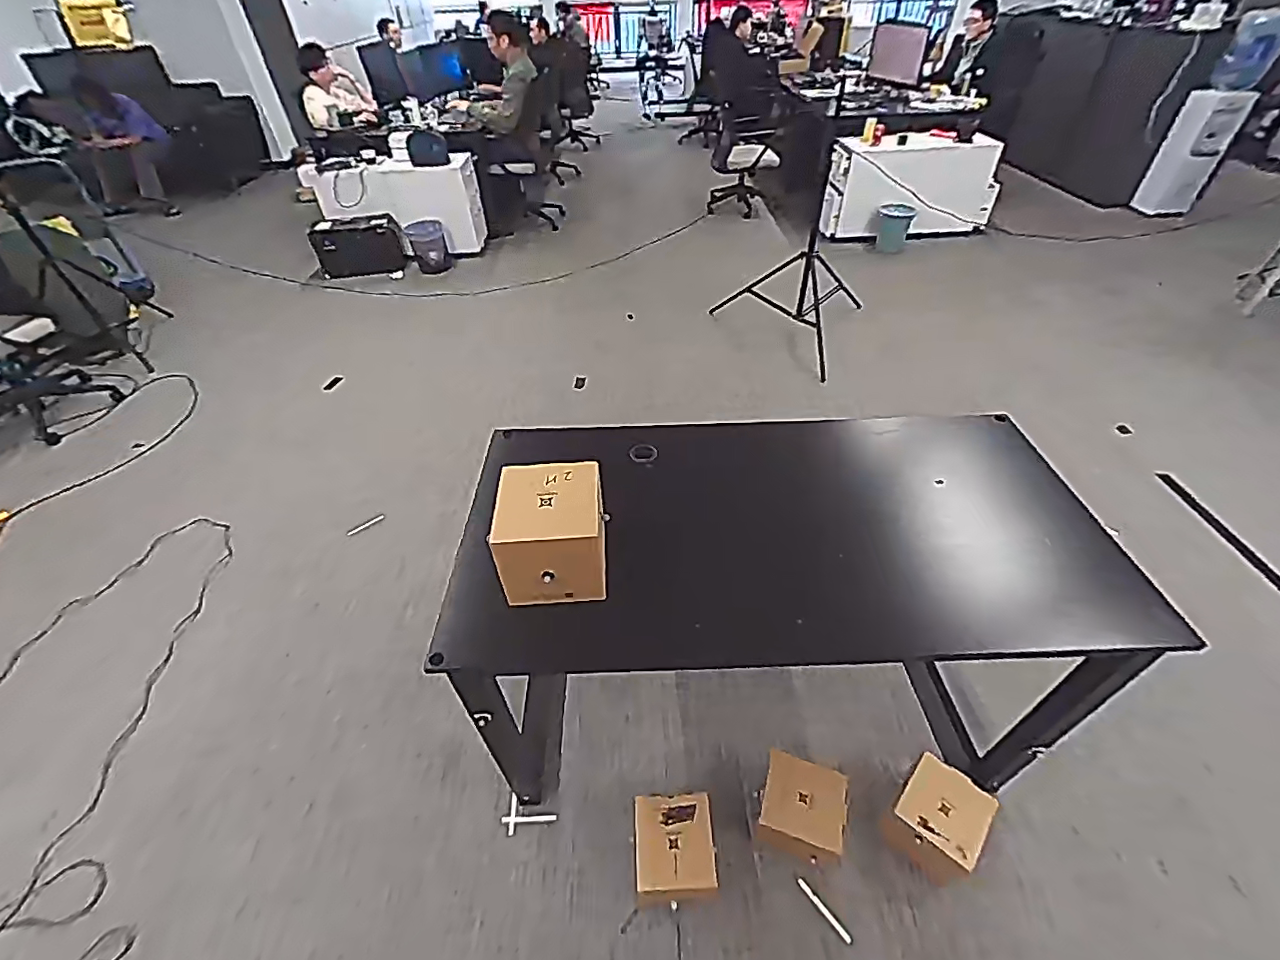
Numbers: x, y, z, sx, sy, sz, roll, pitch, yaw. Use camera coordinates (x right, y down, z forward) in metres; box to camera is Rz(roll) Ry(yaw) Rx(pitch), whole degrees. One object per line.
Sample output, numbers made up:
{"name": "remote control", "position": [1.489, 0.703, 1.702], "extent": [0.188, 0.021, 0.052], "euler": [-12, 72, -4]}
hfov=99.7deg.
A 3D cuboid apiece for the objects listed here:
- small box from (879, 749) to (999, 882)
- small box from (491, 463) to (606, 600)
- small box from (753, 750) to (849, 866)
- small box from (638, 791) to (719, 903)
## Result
{"name": "small box", "position": [0.674, 0.767, 1.236], "extent": [0.168, 0.176, 0.179], "euler": [31, 53, 31]}
{"name": "small box", "position": [-0.146, 0.093, 0.929], "extent": [0.168, 0.176, 0.179], "euler": [-3, 43, -2]}
{"name": "small box", "position": [0.371, 0.766, 1.257], "extent": [0.179, 0.176, 0.168], "euler": [12, 44, 16]}
{"name": "small box", "position": [0.079, 0.822, 1.210], "extent": [0.168, 0.176, 0.179], "euler": [-3, 45, 0]}
